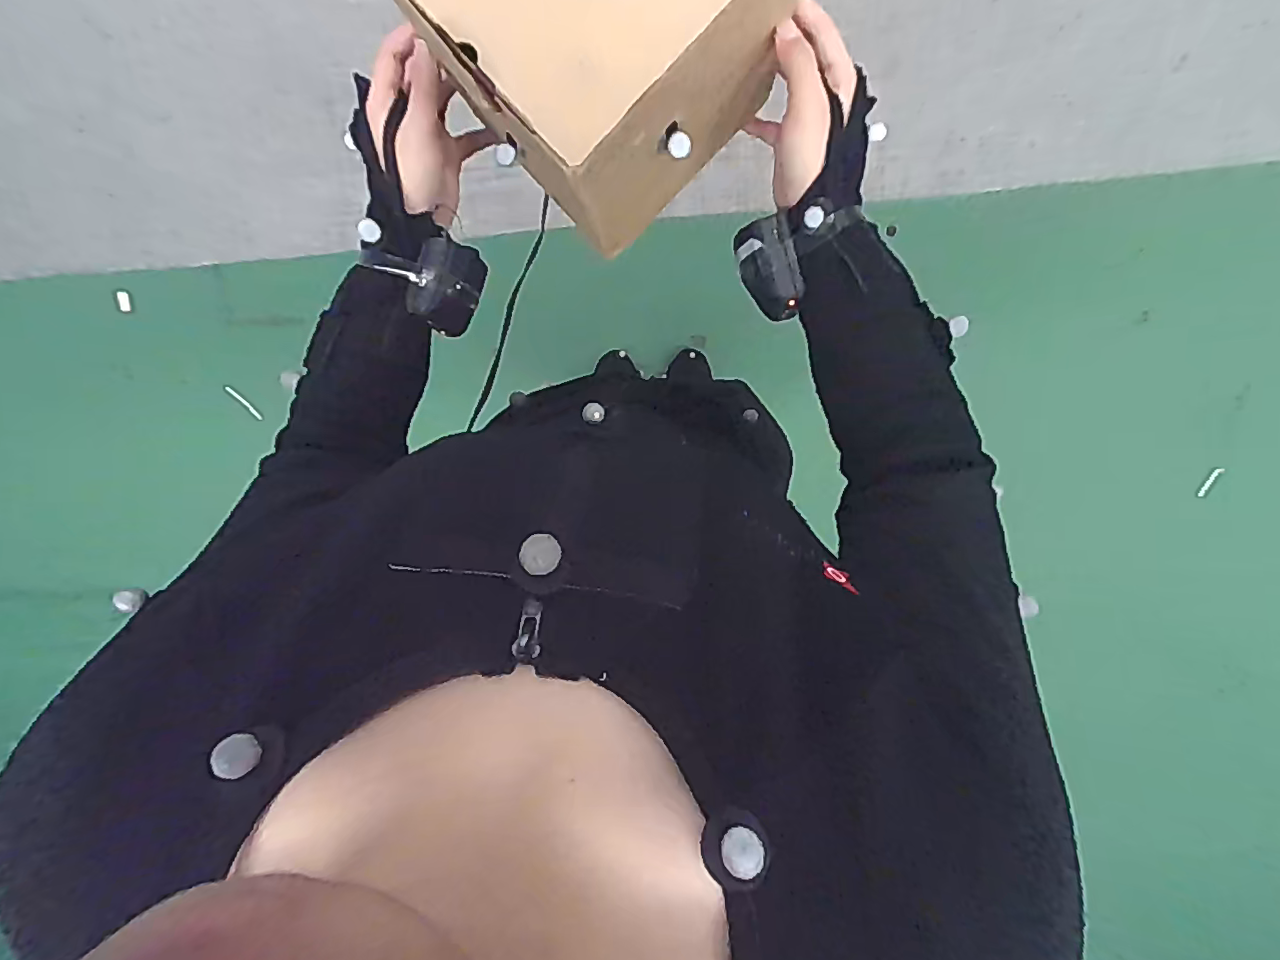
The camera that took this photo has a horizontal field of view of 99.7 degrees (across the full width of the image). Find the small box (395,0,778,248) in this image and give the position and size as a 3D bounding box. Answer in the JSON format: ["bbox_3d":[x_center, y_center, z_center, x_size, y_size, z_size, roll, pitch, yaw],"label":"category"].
[{"bbox_3d":[-0.023,-0.290,0.359,0.179,0.176,0.168,-43,92,9],"label":"small box"}]
